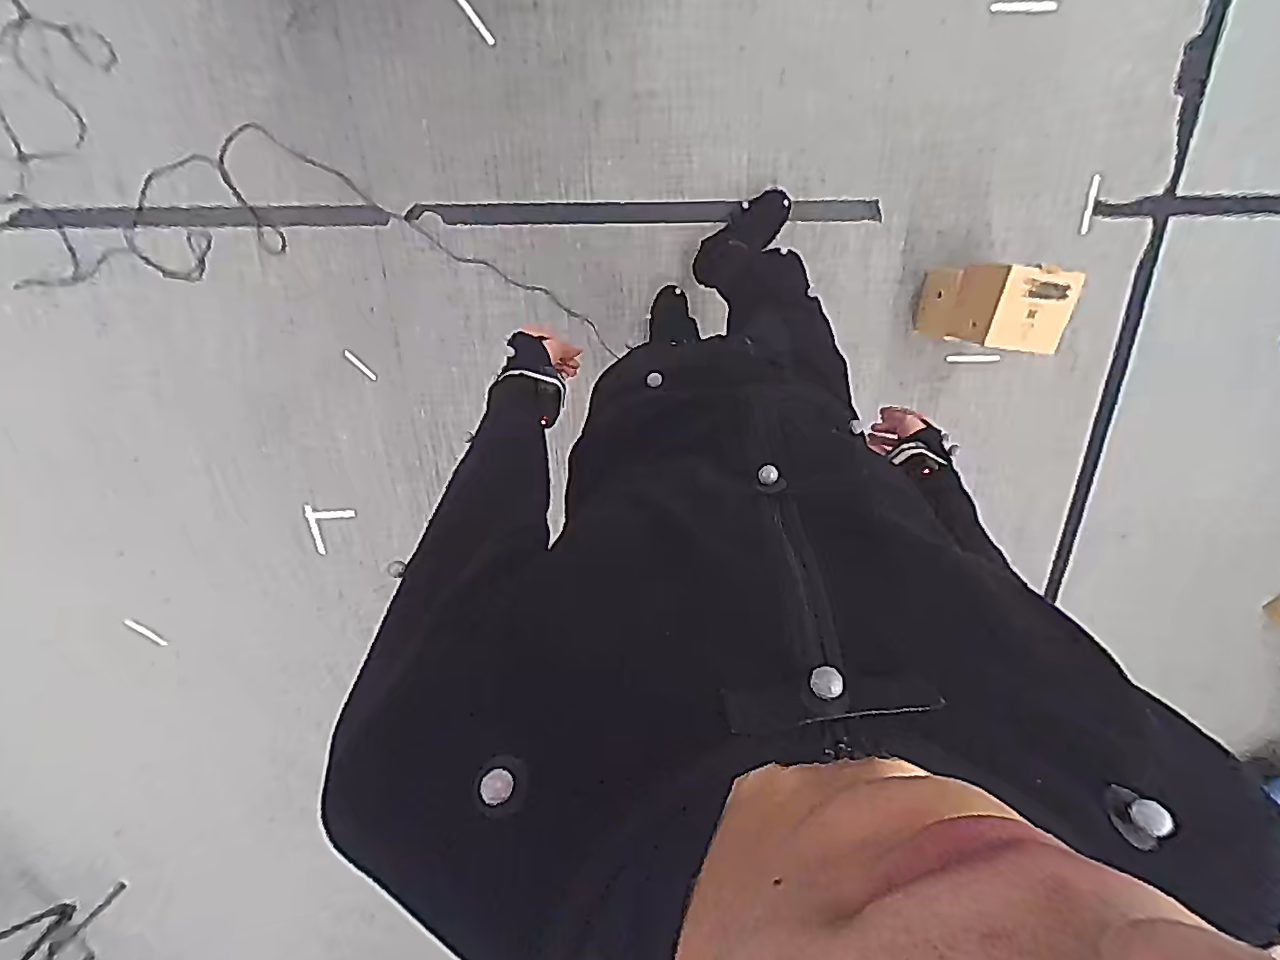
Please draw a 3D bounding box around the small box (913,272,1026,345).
[{"bbox_3d":[0.846,-0.451,1.411,0.179,0.176,0.168,2,112,-1],"label":"small box"}]
